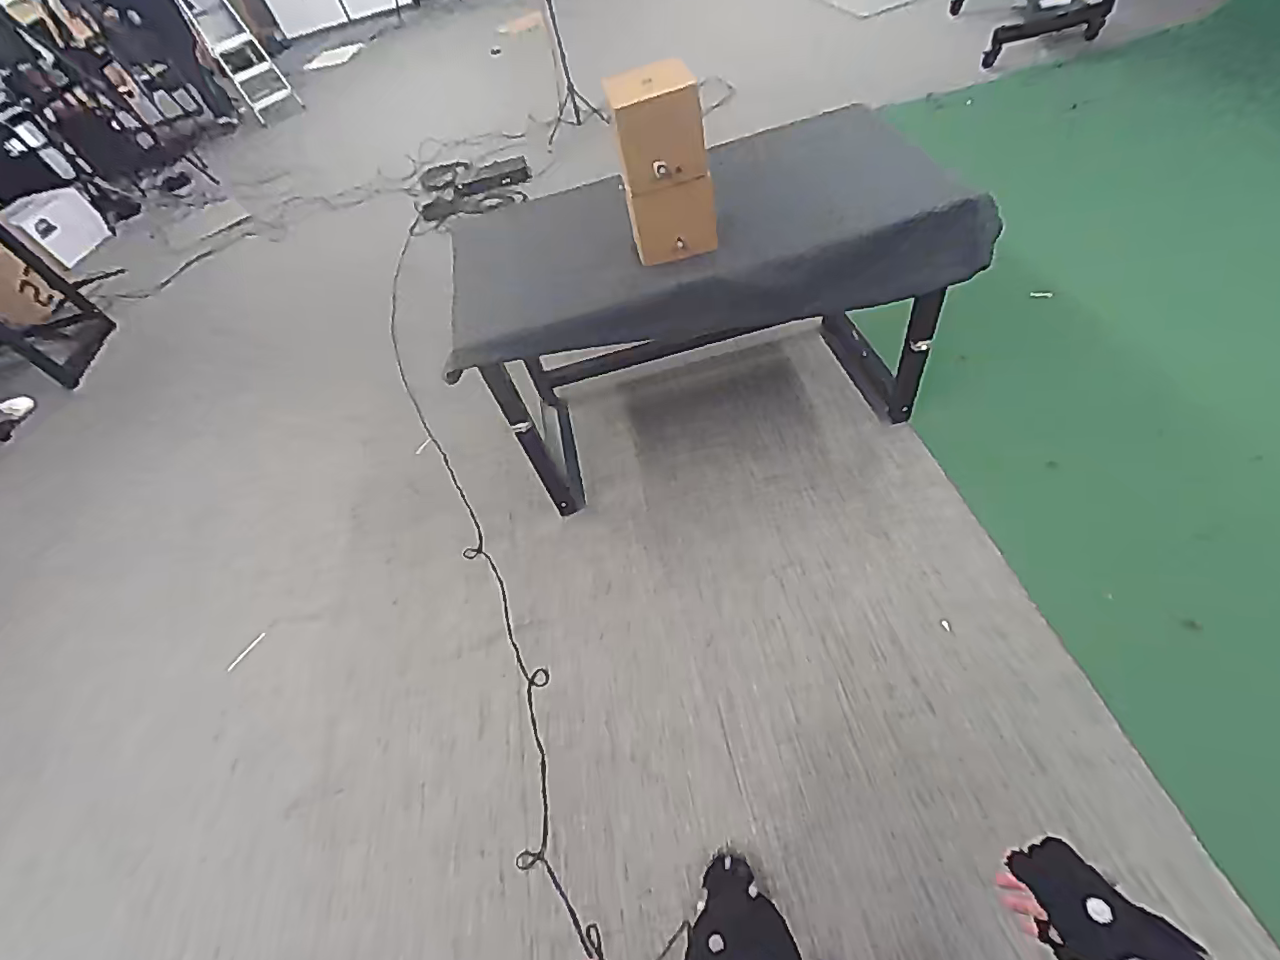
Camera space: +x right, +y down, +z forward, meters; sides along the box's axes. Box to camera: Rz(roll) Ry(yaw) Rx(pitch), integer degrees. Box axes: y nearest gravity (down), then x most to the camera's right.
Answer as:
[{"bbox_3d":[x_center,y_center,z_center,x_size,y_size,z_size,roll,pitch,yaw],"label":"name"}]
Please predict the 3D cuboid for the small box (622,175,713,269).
[{"bbox_3d":[0.065,-0.612,1.235,0.179,0.176,0.168,-14,51,2],"label":"small box"}]

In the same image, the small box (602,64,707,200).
[{"bbox_3d":[0.031,-0.711,1.111,0.168,0.176,0.179,-17,52,3],"label":"small box"}]
